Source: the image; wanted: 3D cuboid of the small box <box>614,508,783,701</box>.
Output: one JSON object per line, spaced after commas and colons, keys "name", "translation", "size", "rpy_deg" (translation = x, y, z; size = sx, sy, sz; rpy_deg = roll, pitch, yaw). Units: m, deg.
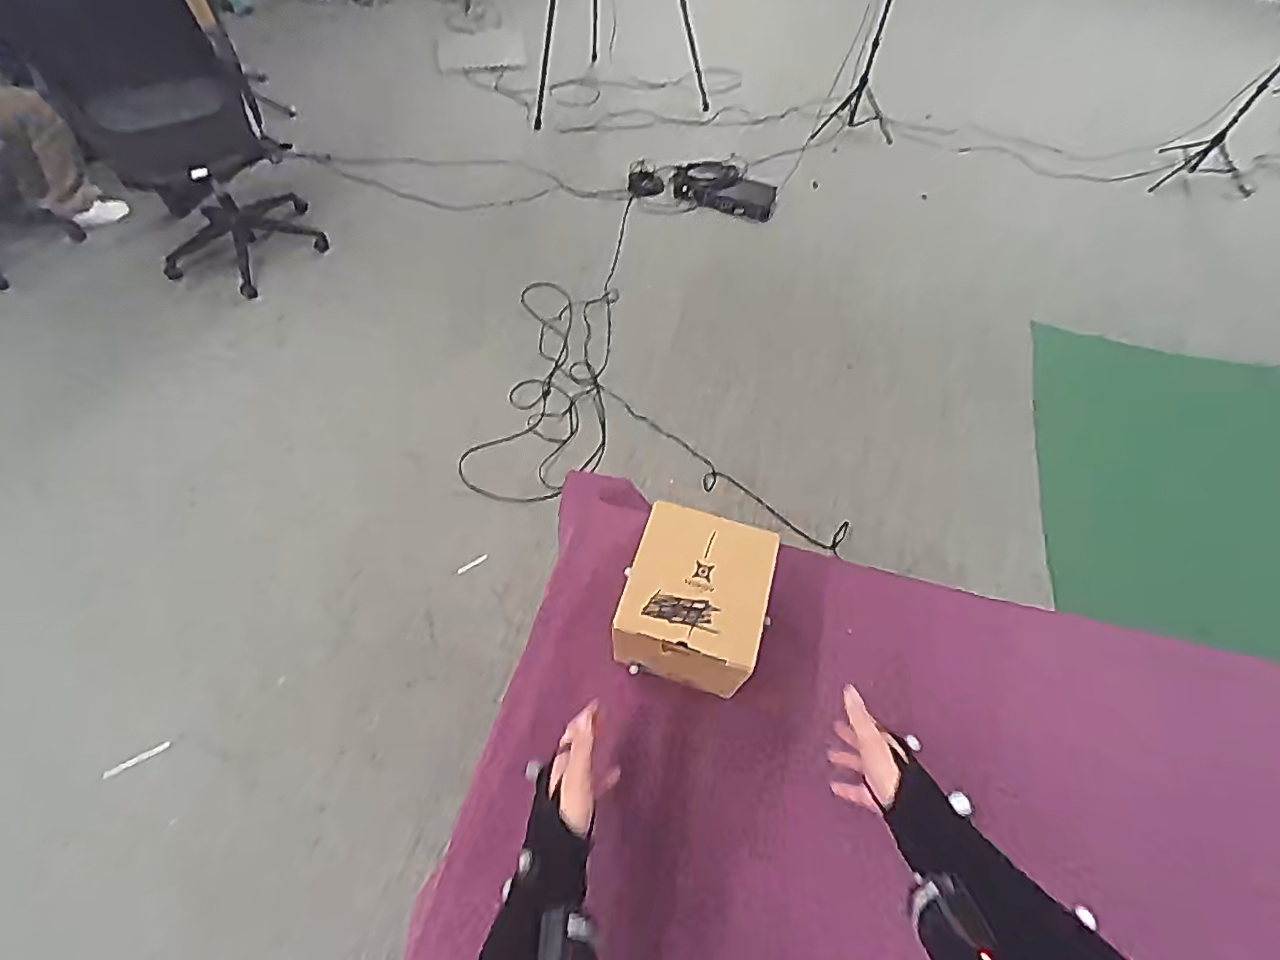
{"name": "small box", "translation": [0.072, 0.168, 0.704], "size": [0.168, 0.176, 0.179], "rpy_deg": [16, 59, 7]}
